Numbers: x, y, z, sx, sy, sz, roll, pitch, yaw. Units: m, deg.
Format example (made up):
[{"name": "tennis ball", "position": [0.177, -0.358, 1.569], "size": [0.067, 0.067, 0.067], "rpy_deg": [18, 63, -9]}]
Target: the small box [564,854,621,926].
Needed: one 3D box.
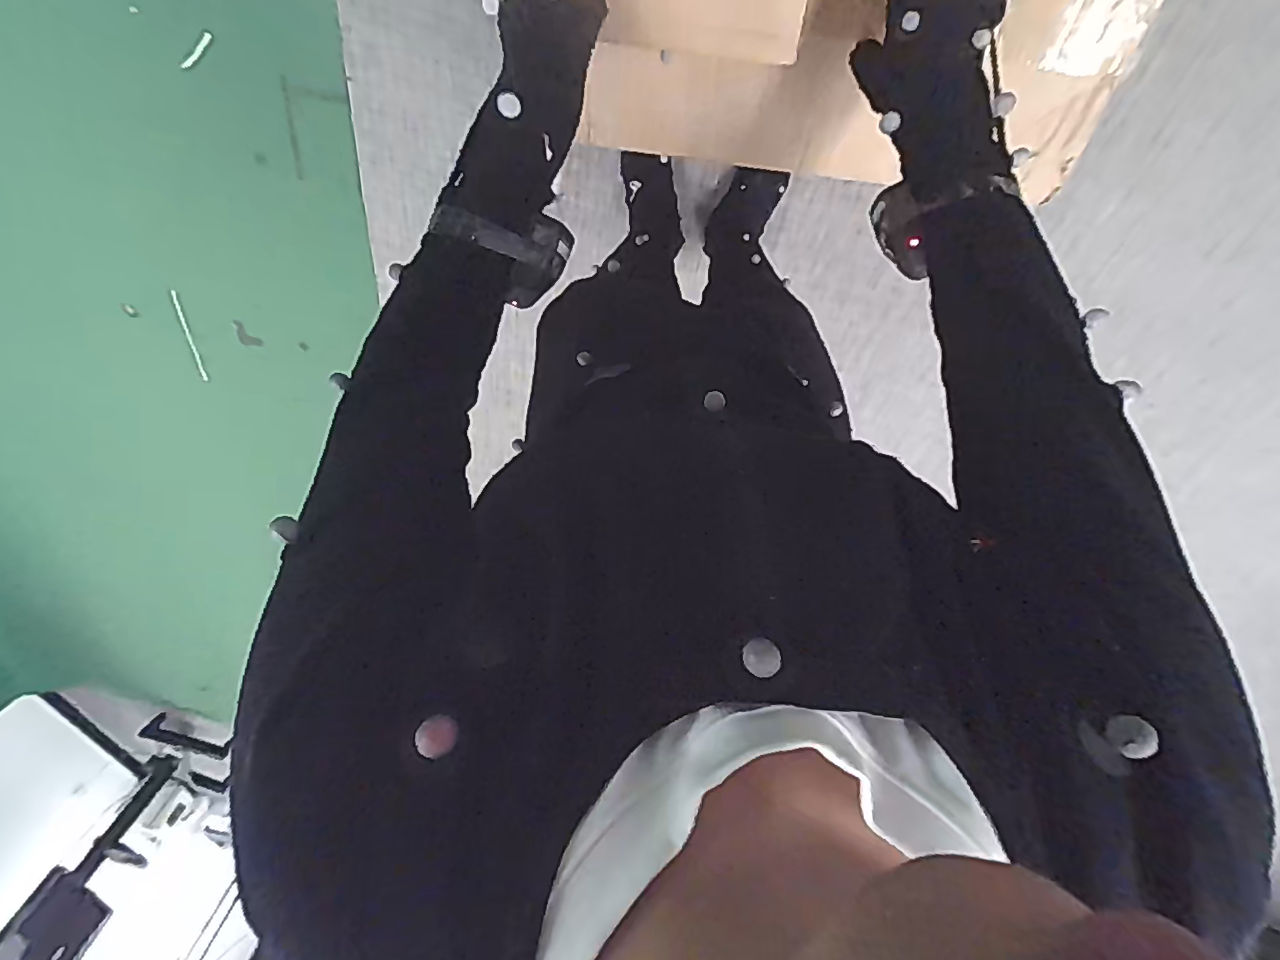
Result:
[{"name": "small box", "position": [-0.170, 1.531, 2.023], "size": [0.179, 0.176, 0.168], "rpy_deg": [7, 131, 9]}]

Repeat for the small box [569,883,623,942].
[{"name": "small box", "position": [-0.180, 1.742, 2.203], "size": [0.179, 0.176, 0.168], "rpy_deg": [13, 131, 3]}]

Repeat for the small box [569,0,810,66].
[{"name": "small box", "position": [0.052, -0.436, 0.406], "size": [0.179, 0.176, 0.168], "rpy_deg": [10, 137, 3]}]
